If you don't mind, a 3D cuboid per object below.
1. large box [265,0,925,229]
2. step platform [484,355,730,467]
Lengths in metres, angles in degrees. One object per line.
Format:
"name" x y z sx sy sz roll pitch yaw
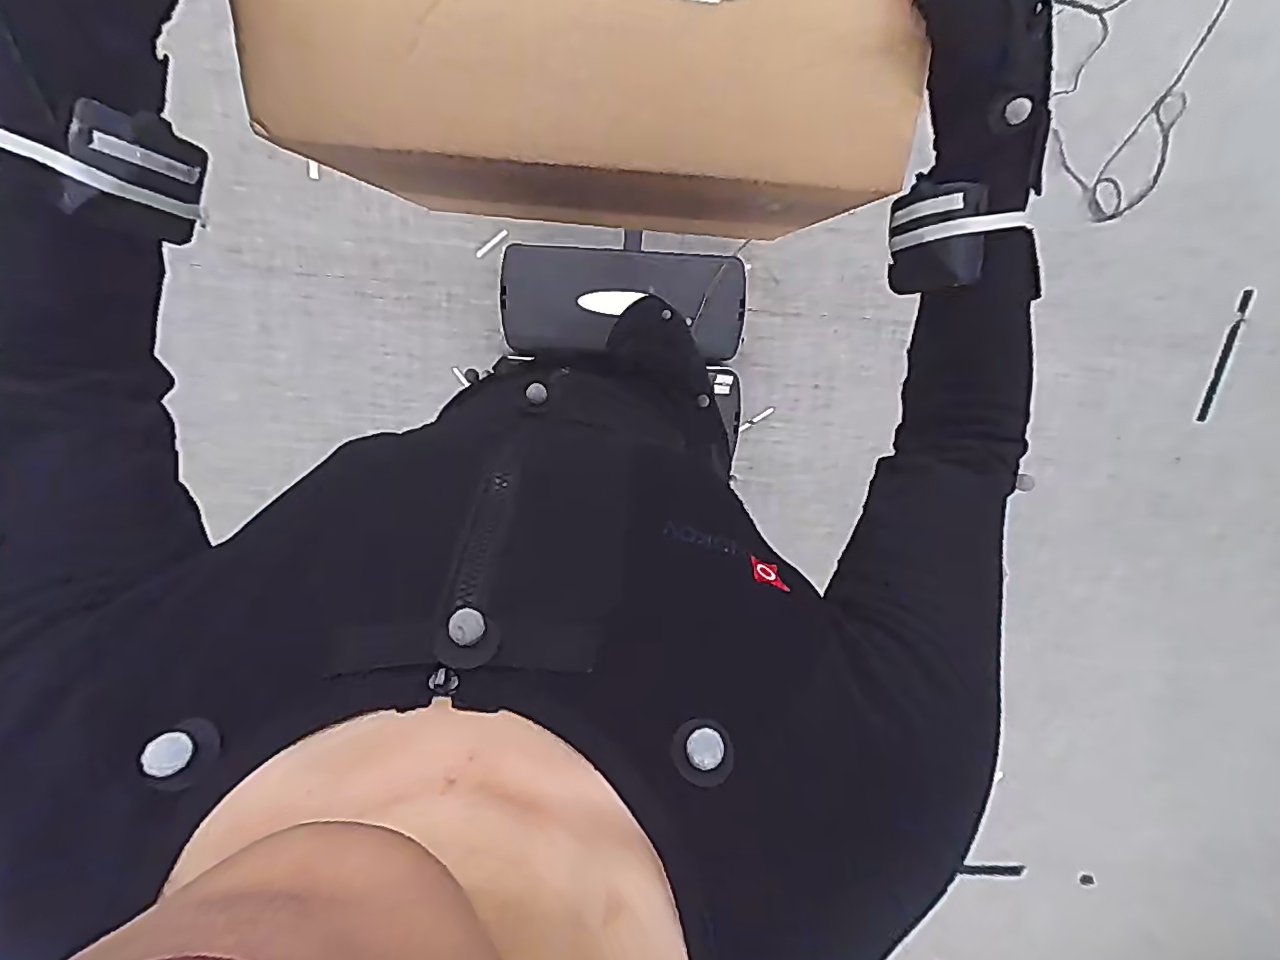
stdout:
"large box" -0.025 -0.402 0.443 0.408 0.320 0.320 3 109 -3
"step platform" -0.089 -0.197 1.535 0.684 0.204 0.286 2 104 -2
